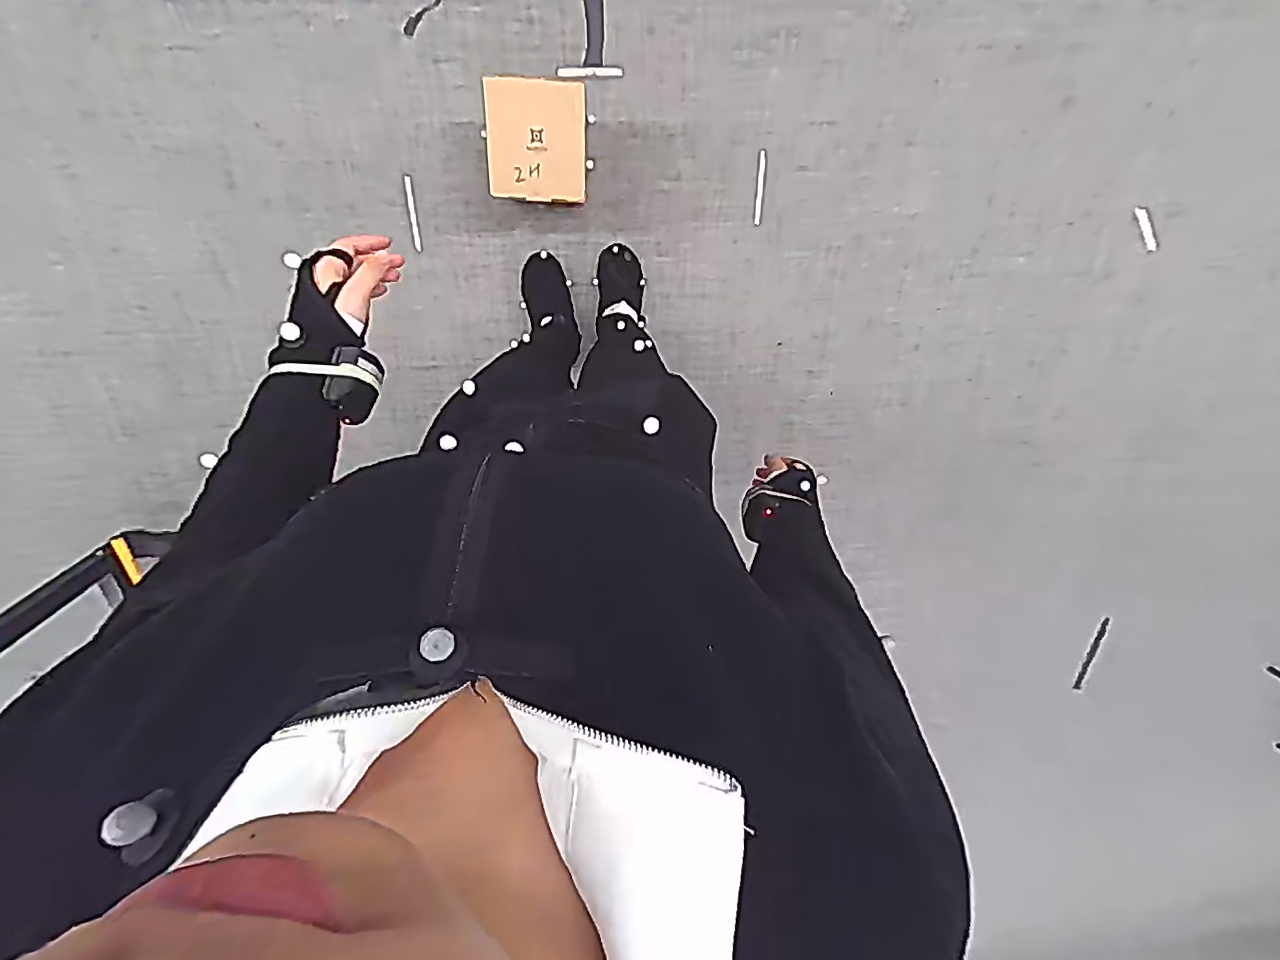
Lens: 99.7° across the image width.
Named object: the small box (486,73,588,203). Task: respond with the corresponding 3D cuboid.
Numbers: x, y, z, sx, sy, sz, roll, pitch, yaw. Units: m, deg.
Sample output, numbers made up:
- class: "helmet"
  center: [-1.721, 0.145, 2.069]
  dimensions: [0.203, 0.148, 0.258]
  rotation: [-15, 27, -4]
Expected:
- class: "small box"
  center: [-0.180, -0.606, 0.978]
  dimensions: [0.168, 0.176, 0.179]
  rotation: [1, 117, -6]
